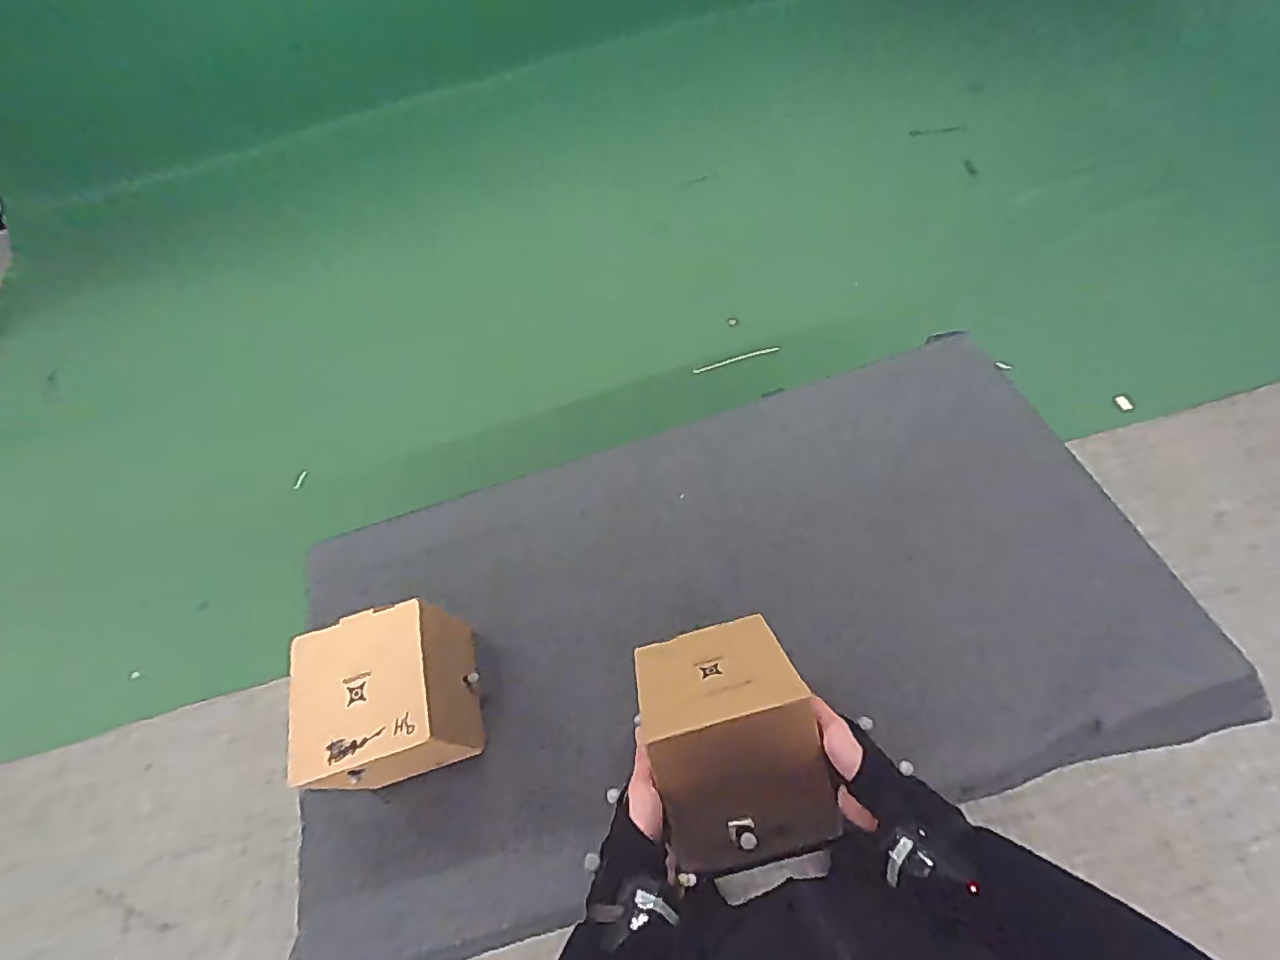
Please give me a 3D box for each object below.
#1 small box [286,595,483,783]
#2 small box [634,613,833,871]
[{"bbox_3d":[-0.322,0.278,0.706,0.168,0.176,0.179,-18,60,-1],"label":"small box"},{"bbox_3d":[0.094,0.279,0.603,0.168,0.179,0.176,-16,103,0],"label":"small box"}]
